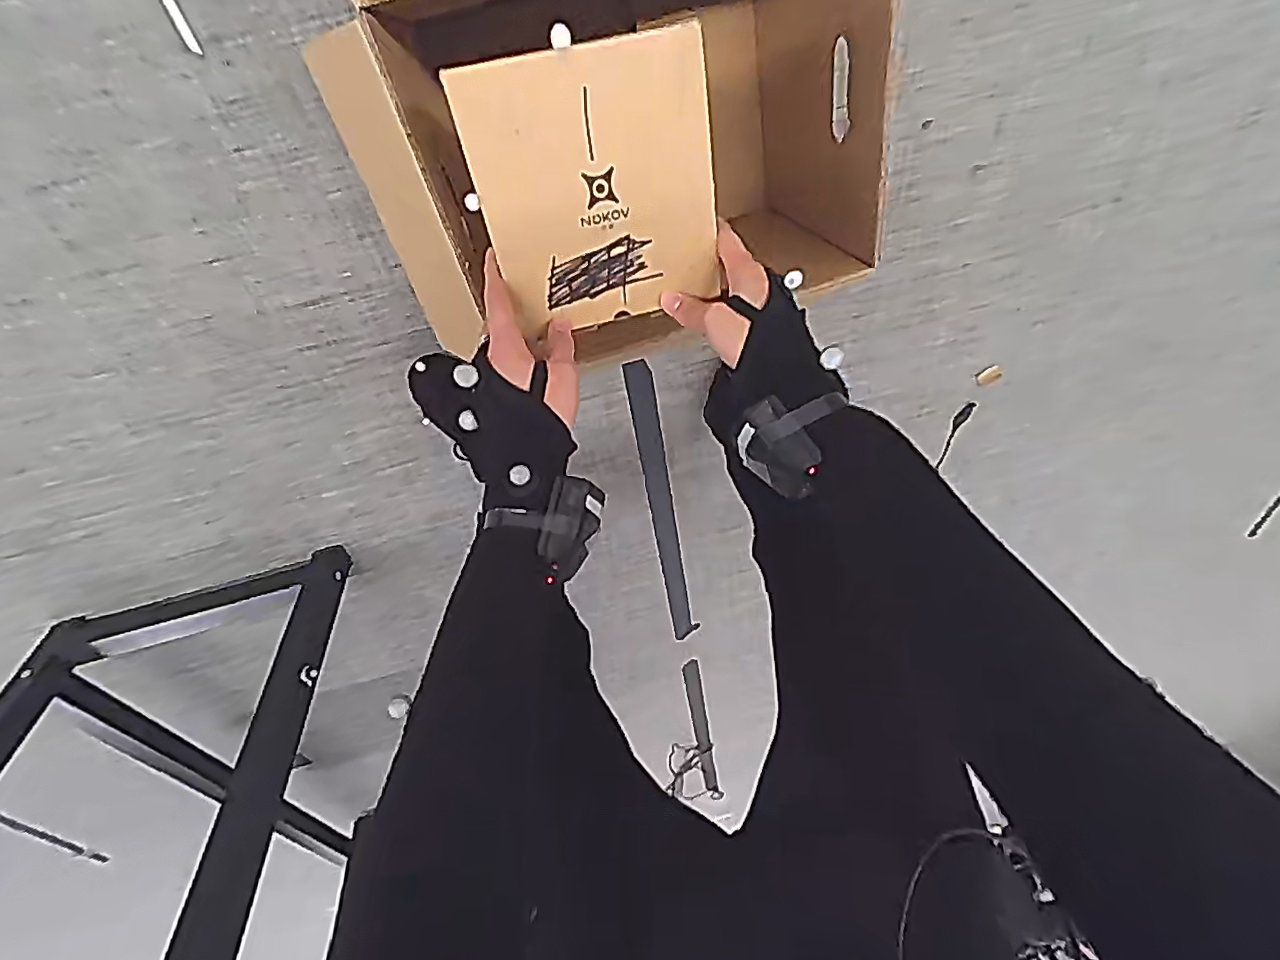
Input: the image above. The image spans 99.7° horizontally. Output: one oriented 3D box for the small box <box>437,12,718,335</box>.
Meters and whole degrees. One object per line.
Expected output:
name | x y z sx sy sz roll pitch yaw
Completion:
small box | -0.044 -0.244 0.437 0.168 0.176 0.179 -15 126 -4
